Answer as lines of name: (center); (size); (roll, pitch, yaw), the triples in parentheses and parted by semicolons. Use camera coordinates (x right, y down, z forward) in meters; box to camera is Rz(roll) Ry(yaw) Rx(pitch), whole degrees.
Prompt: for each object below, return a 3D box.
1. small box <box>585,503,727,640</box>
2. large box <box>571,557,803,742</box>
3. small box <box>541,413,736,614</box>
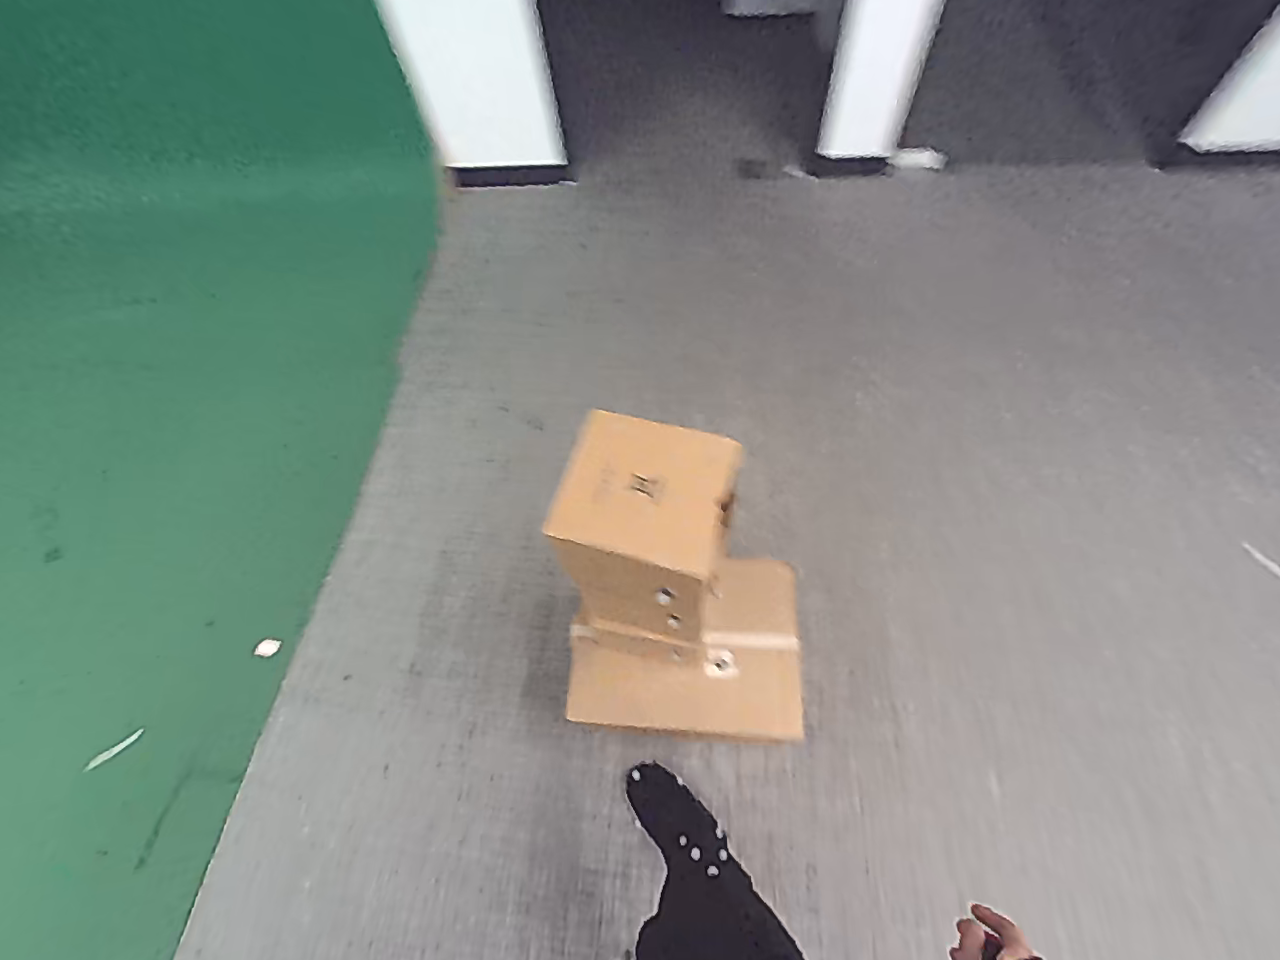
small box: (0.021, 0.121, 0.790); (0.179, 0.176, 0.168); (12, 62, 10)
large box: (0.091, 0.357, 1.118); (0.408, 0.320, 0.320); (1, 62, 5)
small box: (0.007, 0.047, 0.645); (0.179, 0.176, 0.168); (12, 61, 11)
